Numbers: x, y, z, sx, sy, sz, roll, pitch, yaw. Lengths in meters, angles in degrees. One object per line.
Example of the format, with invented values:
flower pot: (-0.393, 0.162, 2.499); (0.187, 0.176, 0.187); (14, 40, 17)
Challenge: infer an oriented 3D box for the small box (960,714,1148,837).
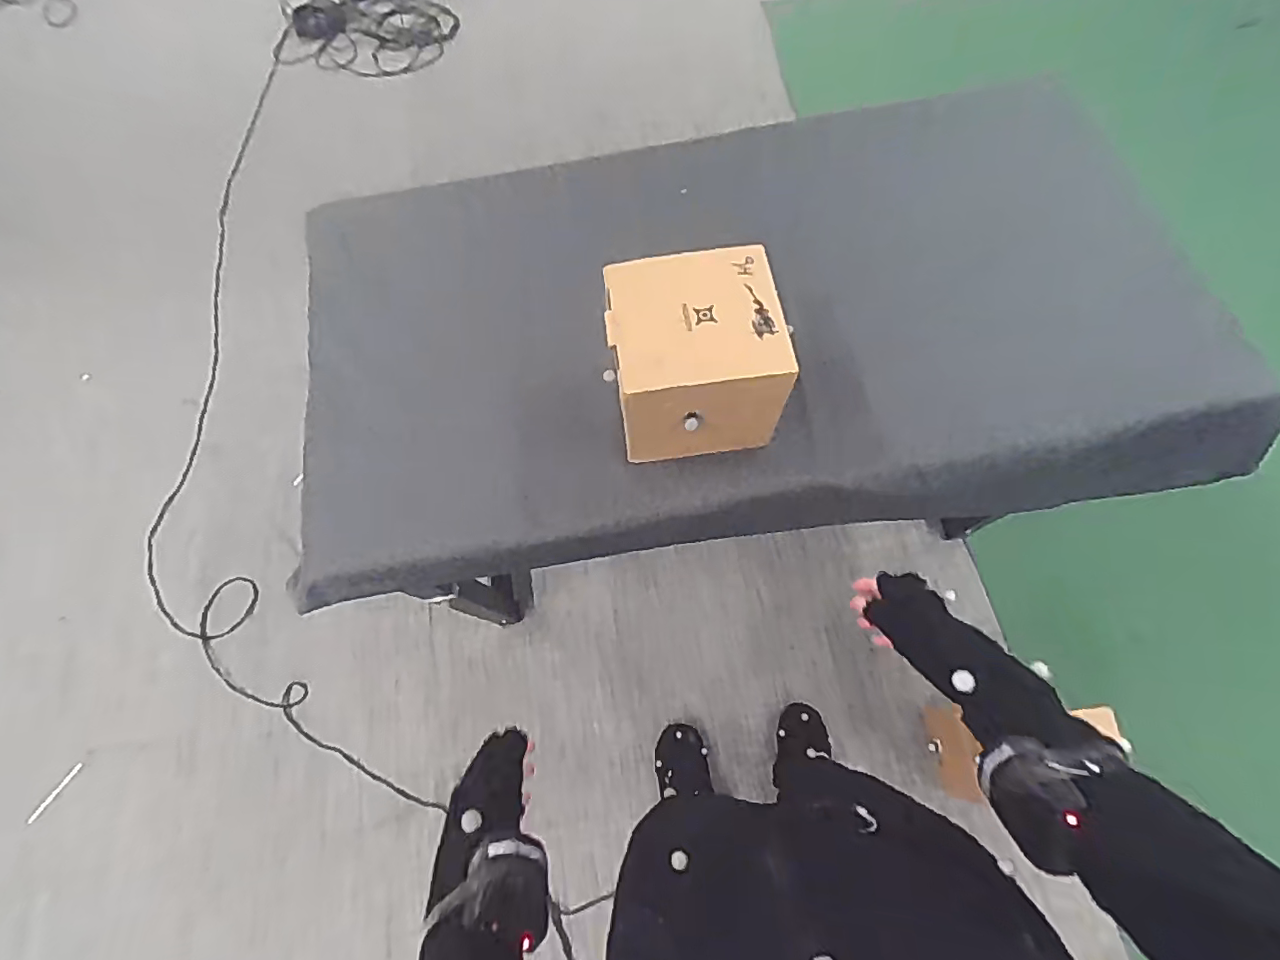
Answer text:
small box: (0.712, 0.510, 0.954); (0.179, 0.176, 0.168); (-6, 68, 1)

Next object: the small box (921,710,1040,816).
small box: (0.715, 0.569, 1.108); (0.179, 0.176, 0.168); (-8, 68, 1)

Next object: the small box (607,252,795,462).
small box: (0.063, -0.131, 0.628); (0.179, 0.176, 0.168); (-7, 68, 0)
